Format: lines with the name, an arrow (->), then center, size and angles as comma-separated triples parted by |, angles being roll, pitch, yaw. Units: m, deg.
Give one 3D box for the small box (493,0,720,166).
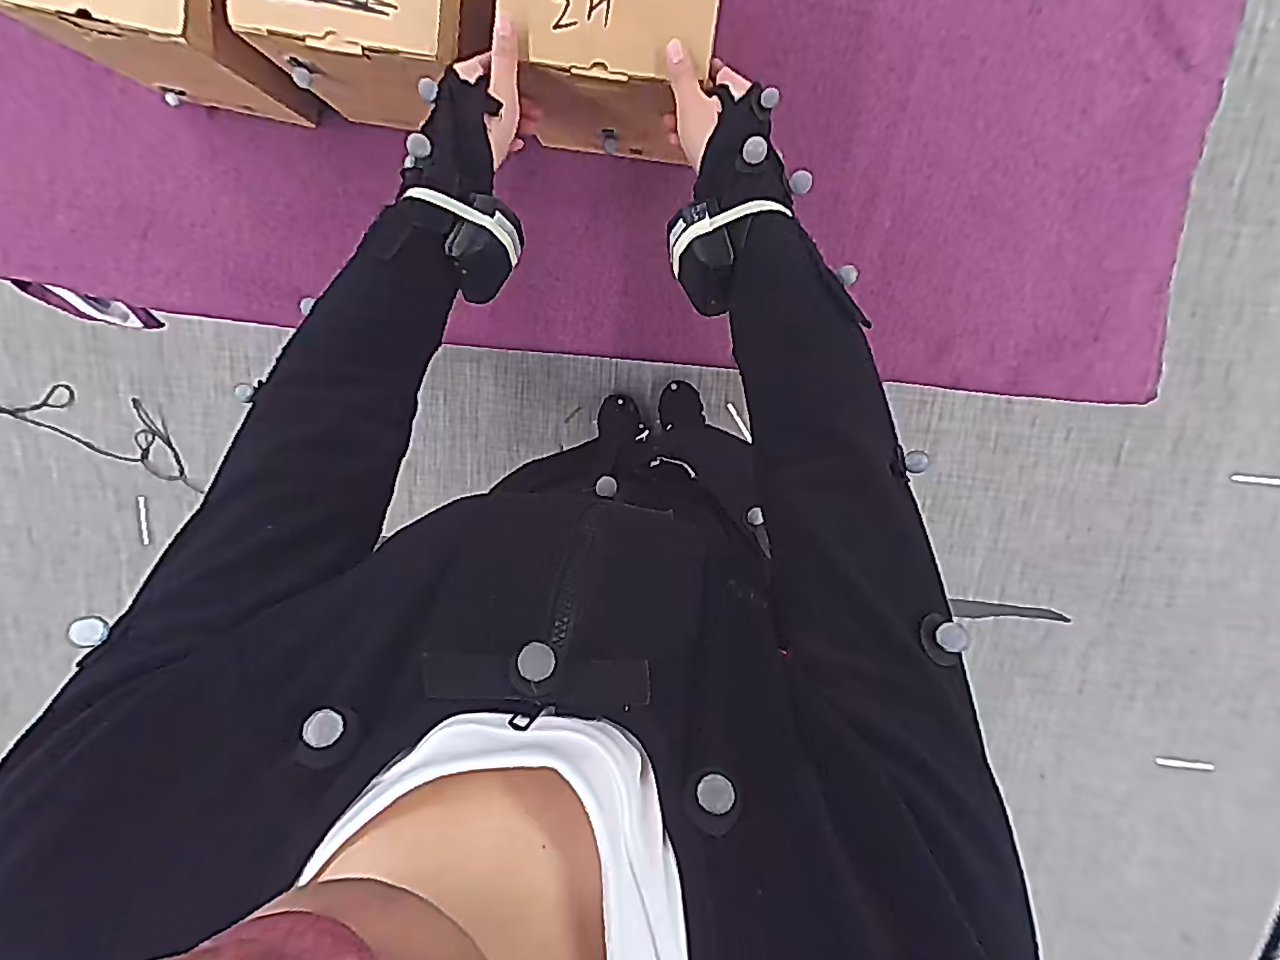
small box -> -0.015, -0.407, 0.471 | 0.168, 0.176, 0.179 | 9, 102, 2
